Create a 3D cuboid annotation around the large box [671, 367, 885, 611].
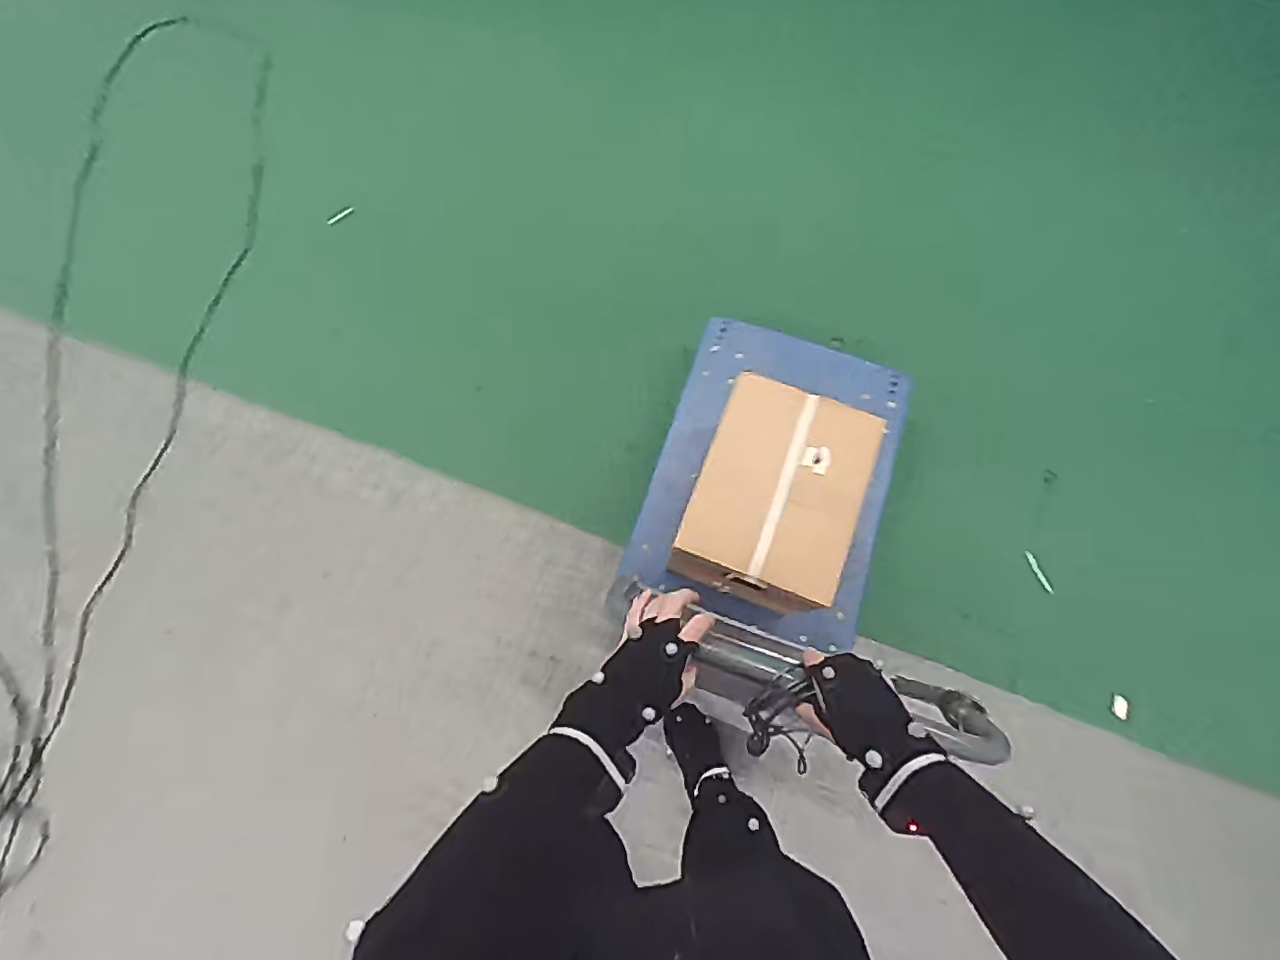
[{"bbox_3d":[0.281,0.038,1.192,0.320,0.320,0.408,22,74,5],"label":"large box"}]
